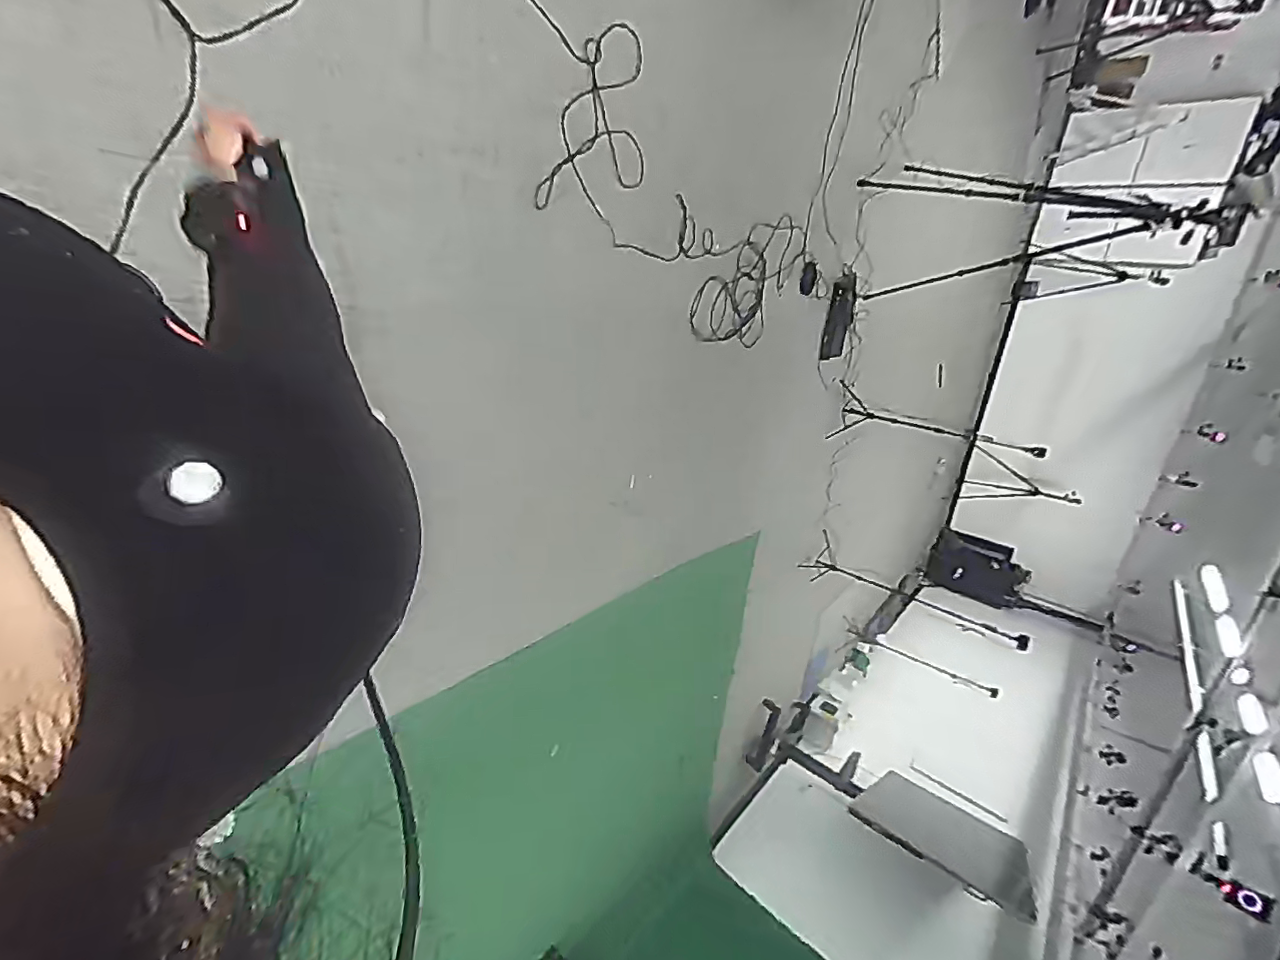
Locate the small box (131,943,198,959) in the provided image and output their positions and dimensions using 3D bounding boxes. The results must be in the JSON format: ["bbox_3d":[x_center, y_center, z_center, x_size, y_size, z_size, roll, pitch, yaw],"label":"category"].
[{"bbox_3d":[-0.966,1.049,1.037,0.168,0.176,0.179,18,93,-53],"label":"small box"}]
